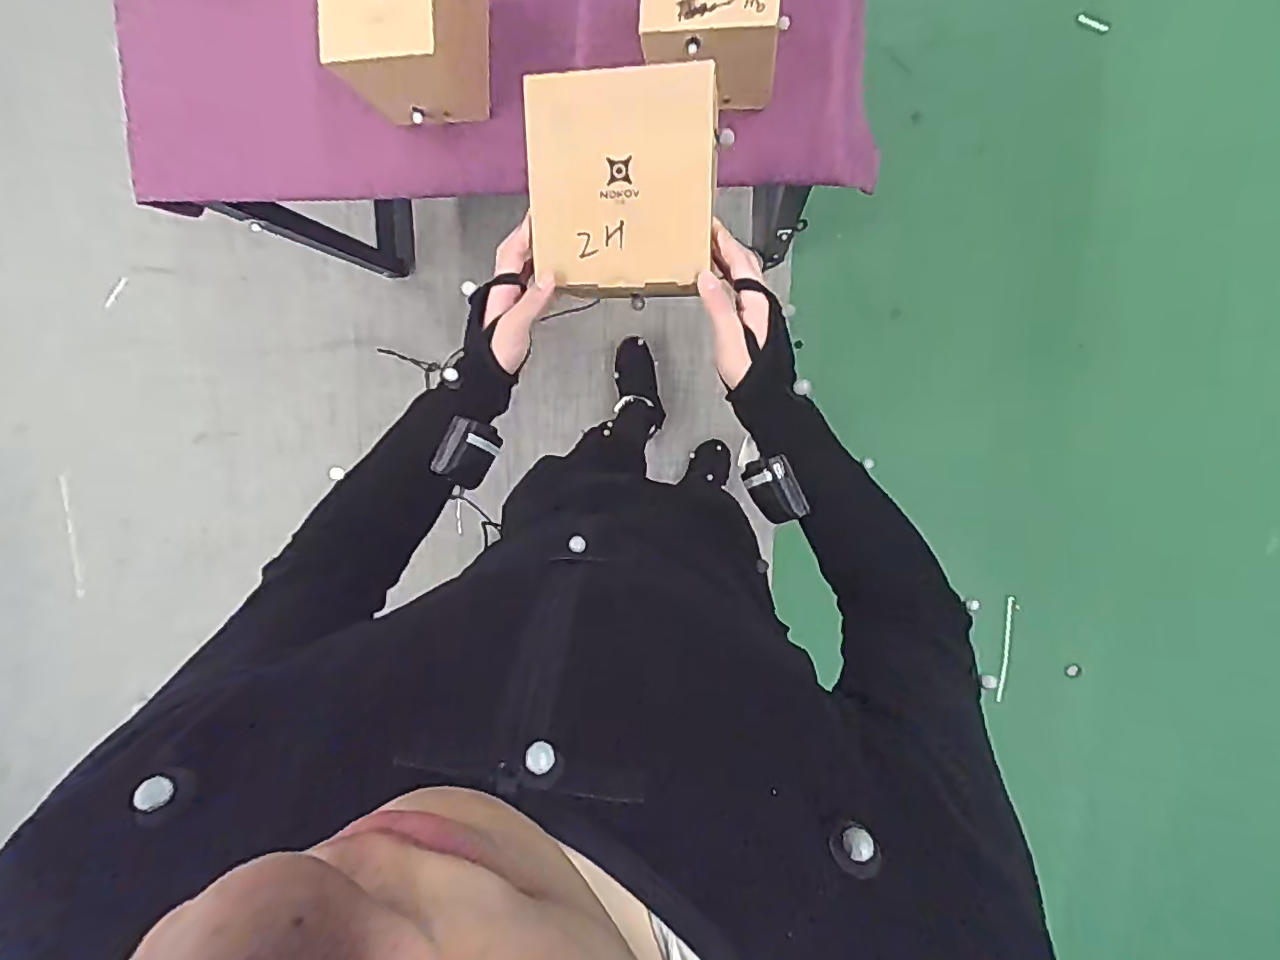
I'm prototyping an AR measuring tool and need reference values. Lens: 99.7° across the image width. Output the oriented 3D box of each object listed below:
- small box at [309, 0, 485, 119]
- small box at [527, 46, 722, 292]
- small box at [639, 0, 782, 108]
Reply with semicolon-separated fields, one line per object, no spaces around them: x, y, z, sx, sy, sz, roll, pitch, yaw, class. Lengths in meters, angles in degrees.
-0.328;-0.642;0.755;0.168;0.176;0.179;3;98;8;small box
-0.005;-0.287;0.540;0.168;0.176;0.179;2;106;8;small box
0.097;-0.621;0.695;0.168;0.176;0.179;5;96;9;small box
